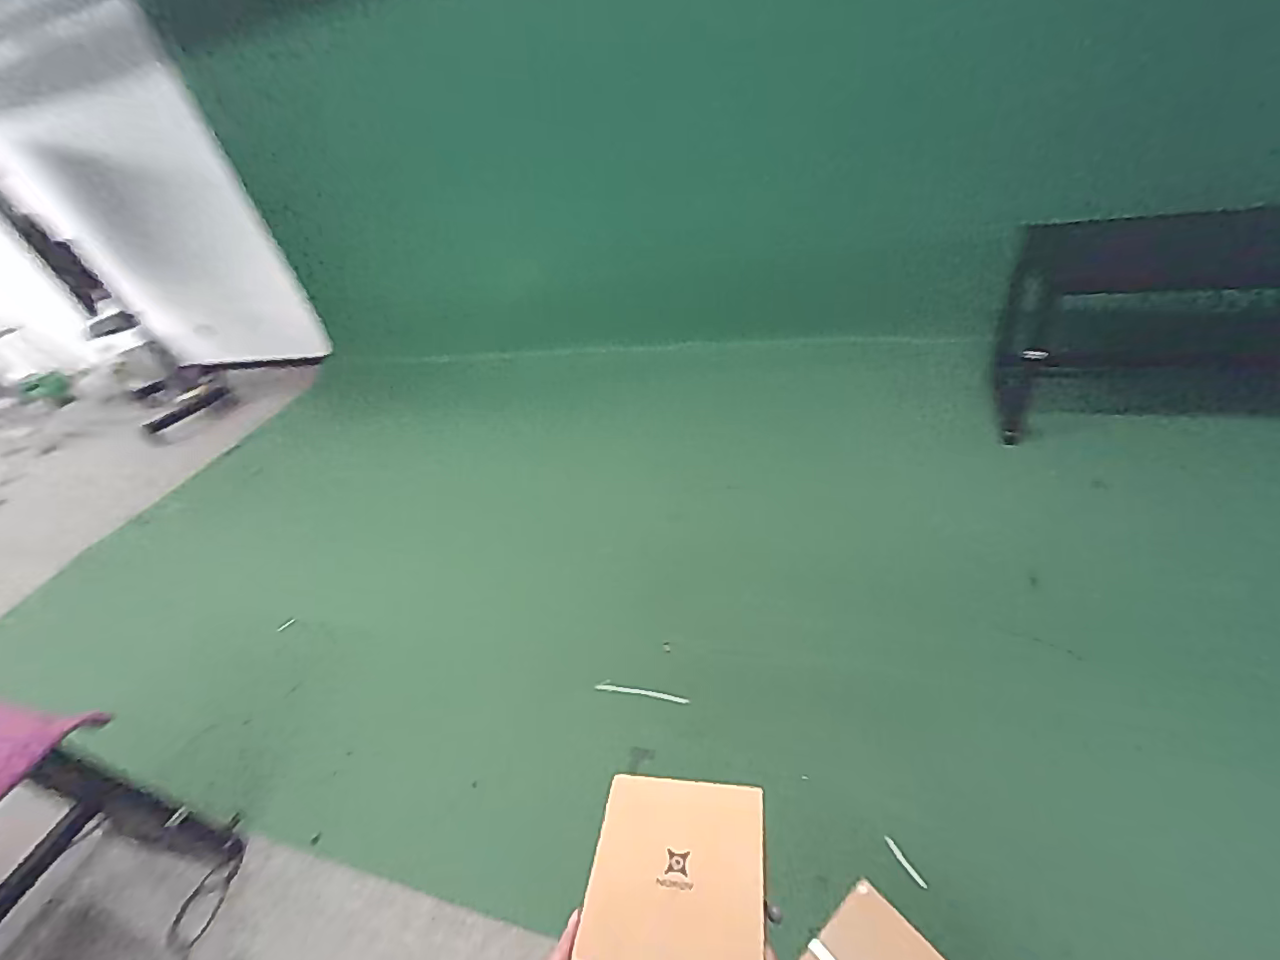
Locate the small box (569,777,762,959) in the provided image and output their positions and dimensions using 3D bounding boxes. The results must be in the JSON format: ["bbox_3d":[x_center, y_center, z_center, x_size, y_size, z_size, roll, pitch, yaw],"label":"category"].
[{"bbox_3d":[0.040,0.445,0.557,0.168,0.176,0.179,-1,31,12],"label":"small box"}]
